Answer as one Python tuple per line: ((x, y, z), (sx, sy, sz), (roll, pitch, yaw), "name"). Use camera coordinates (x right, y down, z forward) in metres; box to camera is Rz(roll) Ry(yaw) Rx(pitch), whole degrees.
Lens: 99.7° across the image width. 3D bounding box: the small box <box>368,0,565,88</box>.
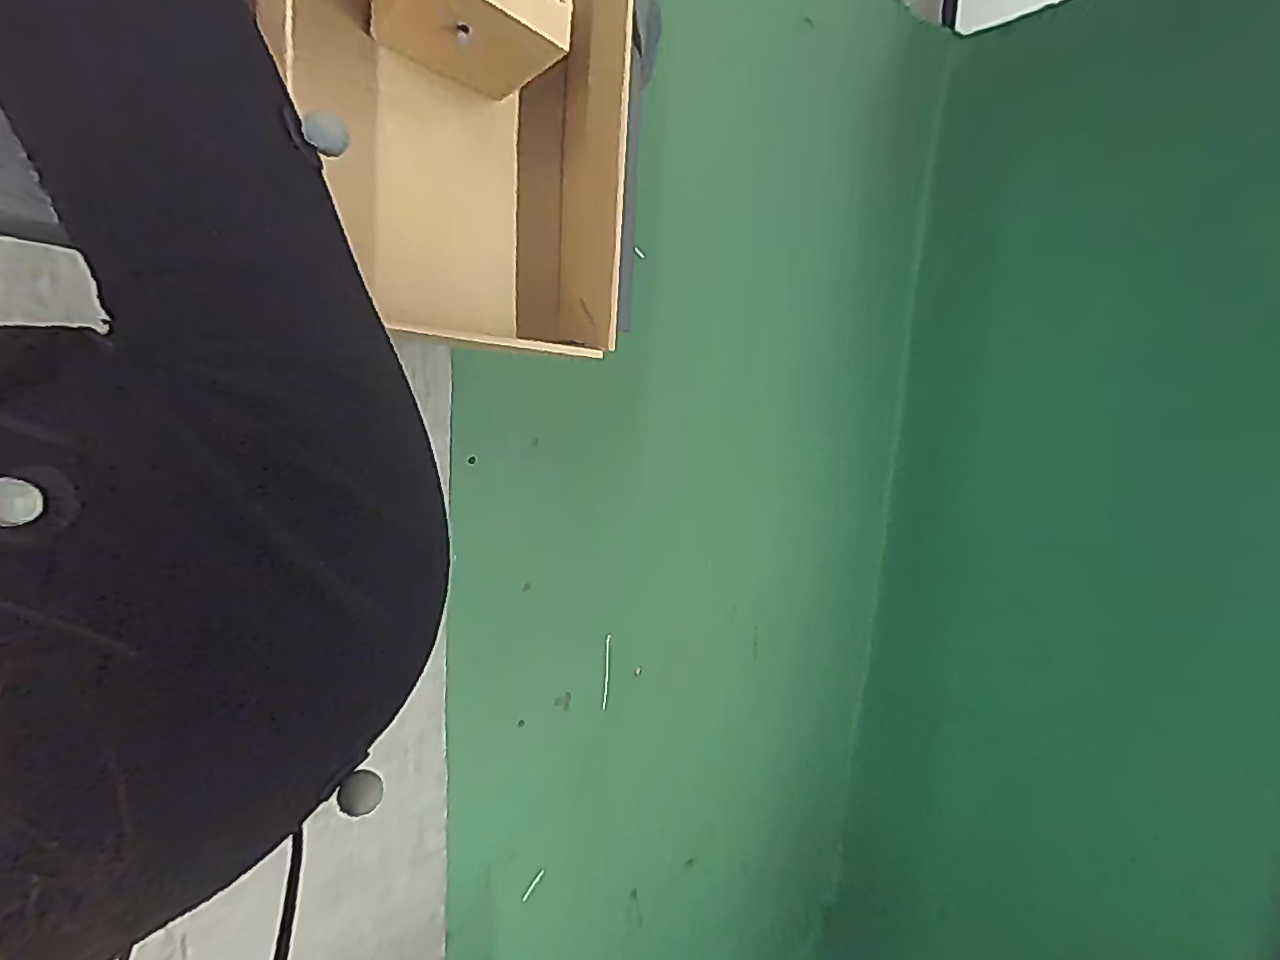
((-0.201, -0.598, 0.625), (0.179, 0.176, 0.168), (-2, 102, -42), "small box")
